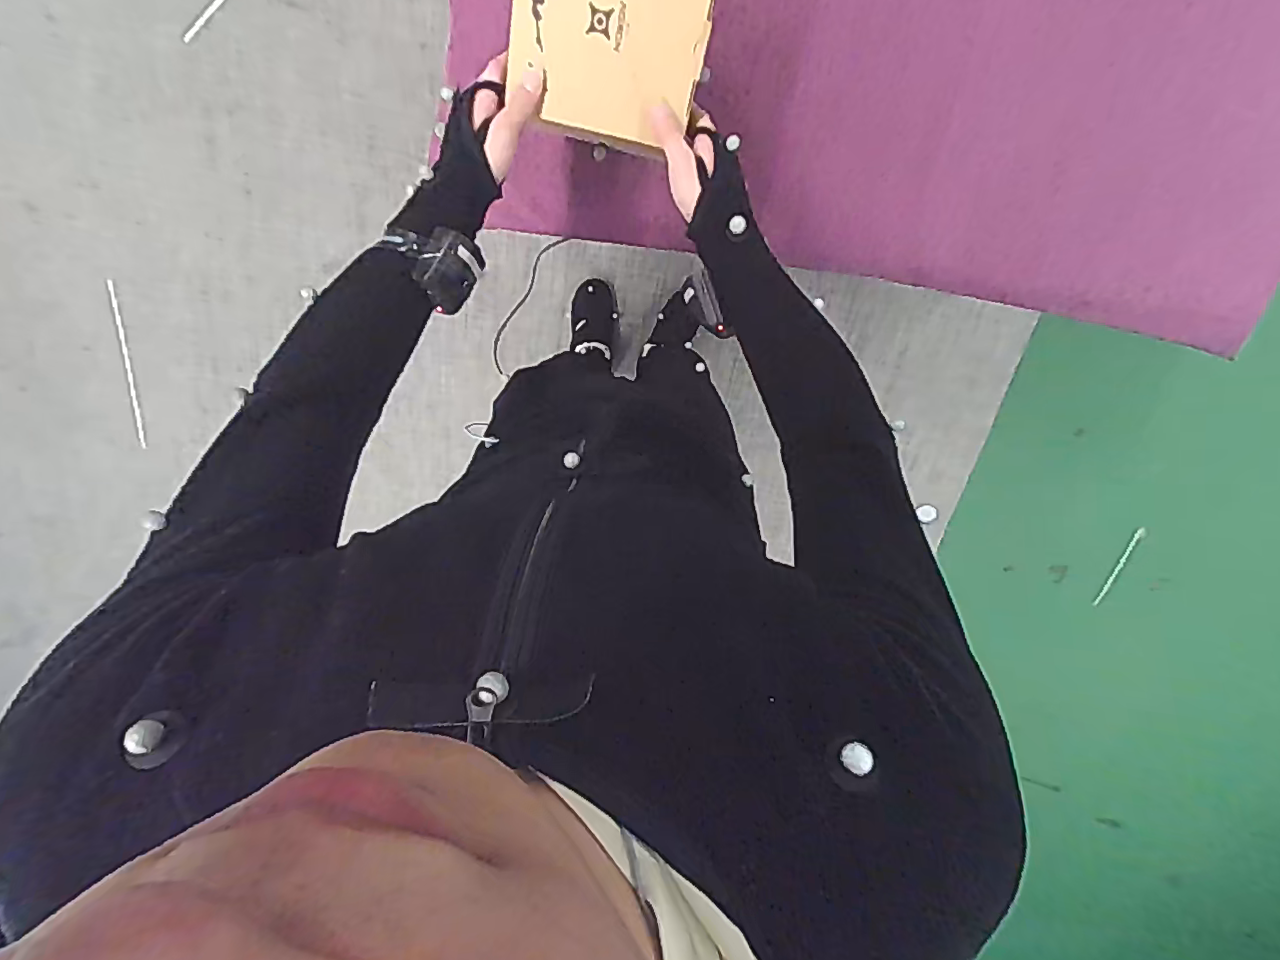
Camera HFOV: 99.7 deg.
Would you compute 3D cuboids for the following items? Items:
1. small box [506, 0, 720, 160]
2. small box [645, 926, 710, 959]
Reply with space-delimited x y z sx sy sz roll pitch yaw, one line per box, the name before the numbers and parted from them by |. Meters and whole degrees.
small box | -0.026 -0.439 0.552 0.179 0.176 0.168 10 117 -7
small box | 0.109 1.437 1.559 0.168 0.176 0.179 9 112 -6
